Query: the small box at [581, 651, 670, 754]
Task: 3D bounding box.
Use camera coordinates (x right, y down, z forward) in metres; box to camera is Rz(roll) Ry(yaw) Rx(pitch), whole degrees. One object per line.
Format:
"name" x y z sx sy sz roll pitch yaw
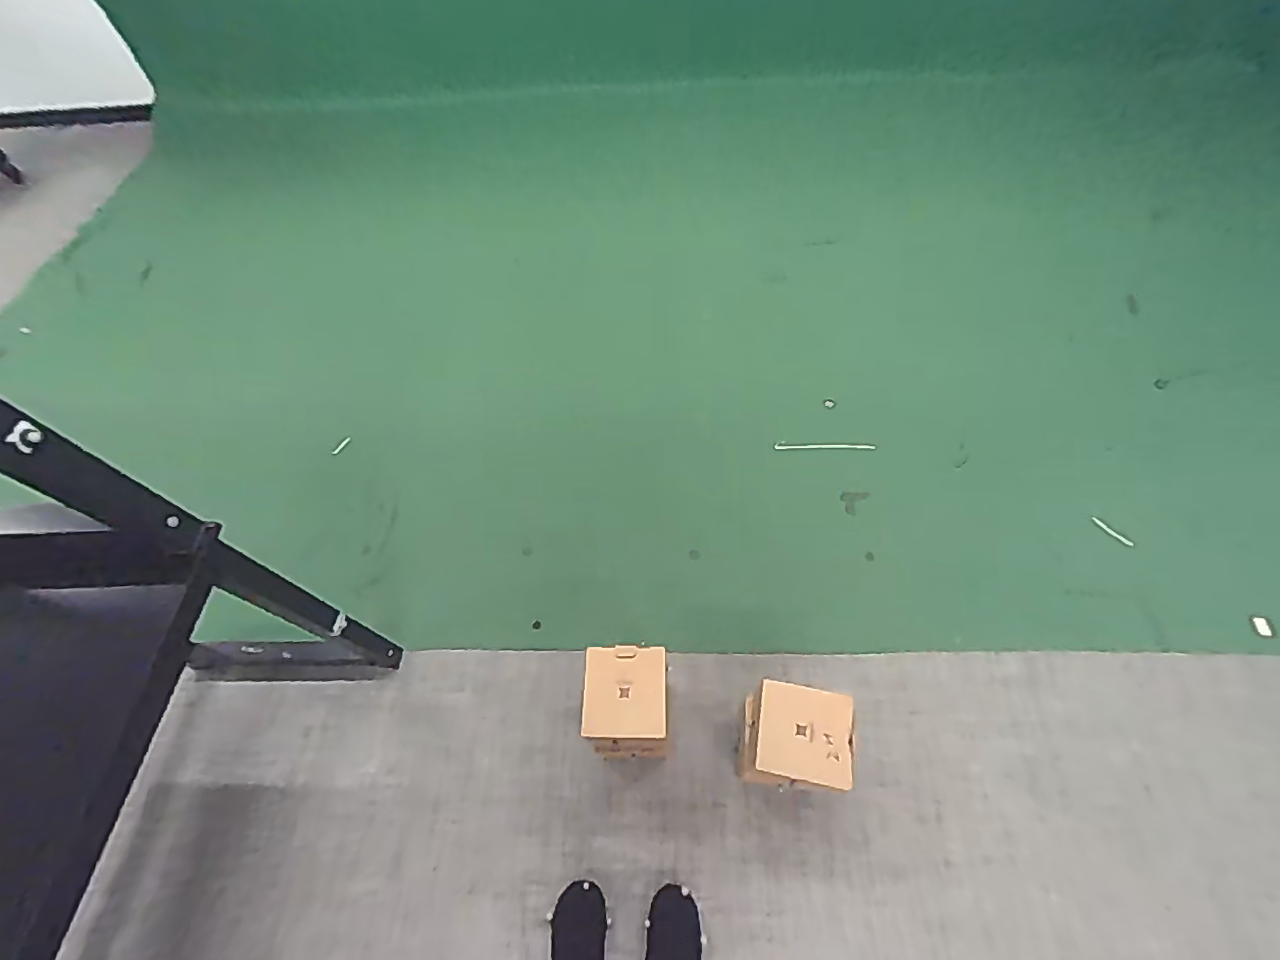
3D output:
"small box" -0.023 0.469 1.129 0.168 0.176 0.179 -2 56 3

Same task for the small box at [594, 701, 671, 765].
"small box" -0.013 0.563 1.262 0.168 0.176 0.179 -3 57 2

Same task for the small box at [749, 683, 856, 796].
"small box" 0.317 0.519 1.072 0.179 0.176 0.168 9 60 9
